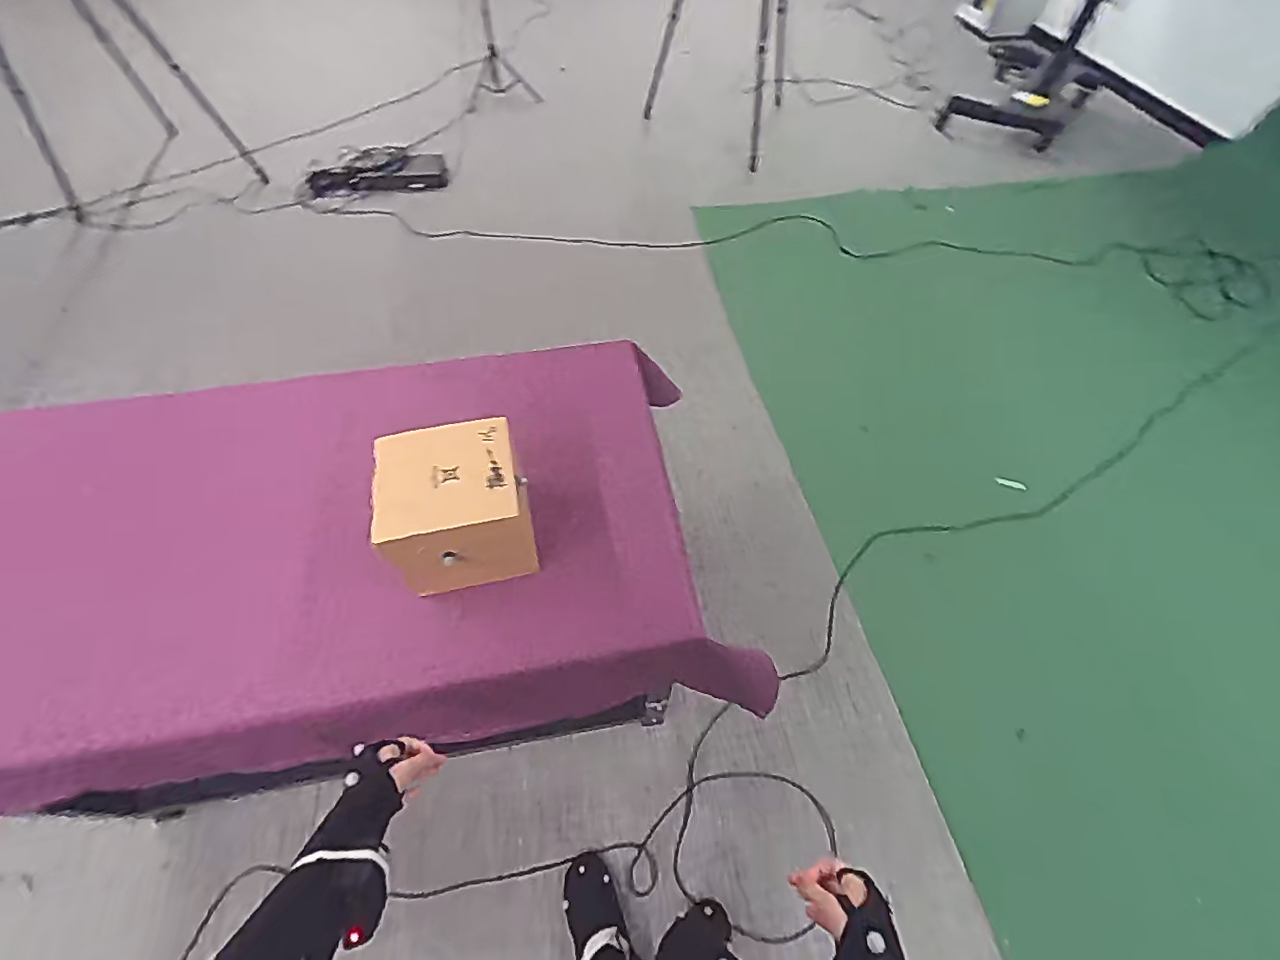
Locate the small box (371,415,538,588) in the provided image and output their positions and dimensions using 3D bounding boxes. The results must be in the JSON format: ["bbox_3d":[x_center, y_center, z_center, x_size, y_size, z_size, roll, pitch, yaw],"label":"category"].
[{"bbox_3d":[-0.253,0.036,0.763,0.179,0.176,0.168,-11,57,-7],"label":"small box"}]
